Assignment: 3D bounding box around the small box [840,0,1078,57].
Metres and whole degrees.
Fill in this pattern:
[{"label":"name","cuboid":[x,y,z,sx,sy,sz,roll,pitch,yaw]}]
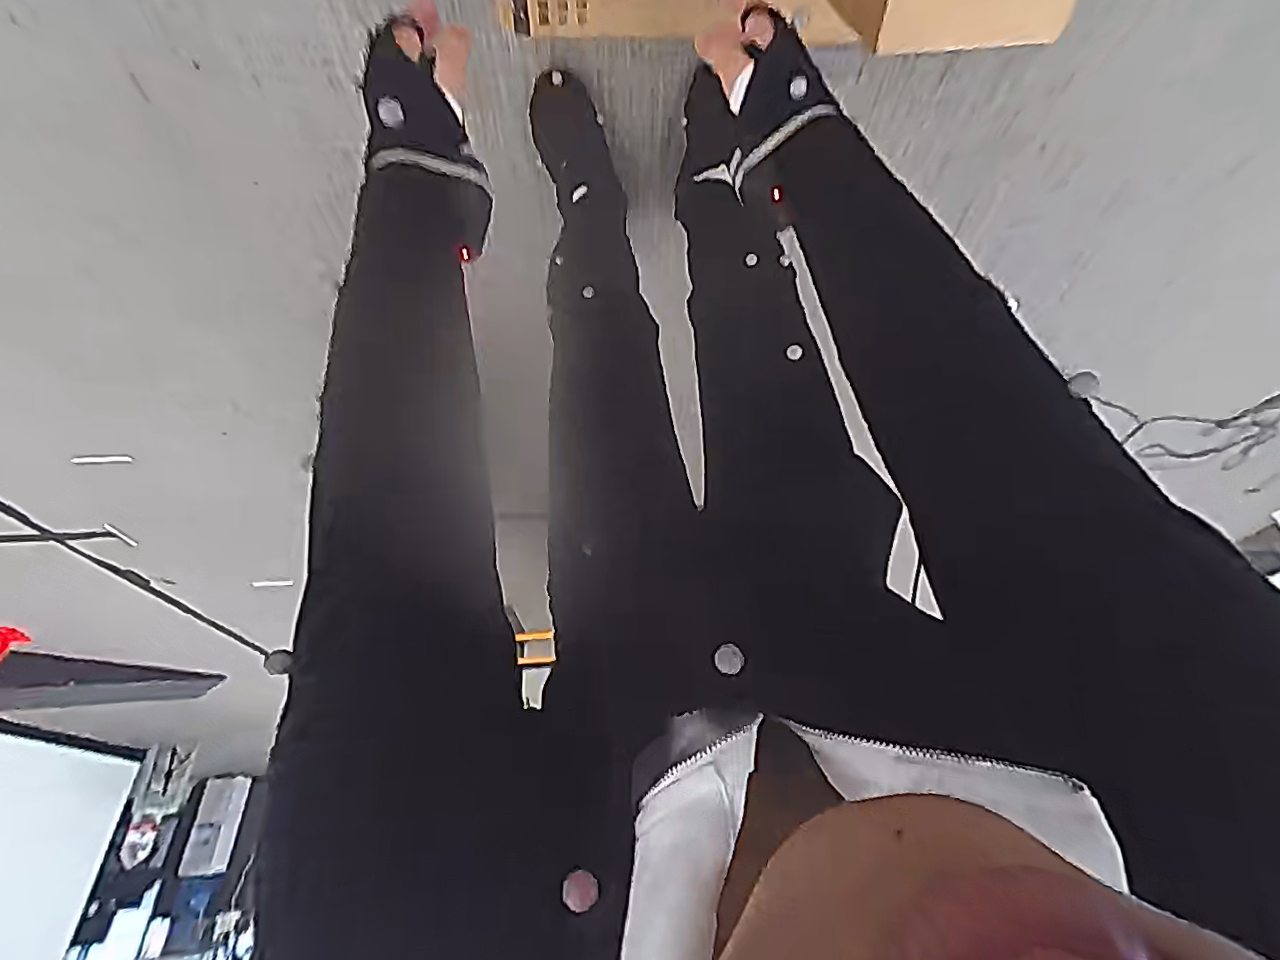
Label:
[{"label":"small box","cuboid":[0.280,-0.498,0.456,0.168,0.176,0.179,-5,146,0]}]
